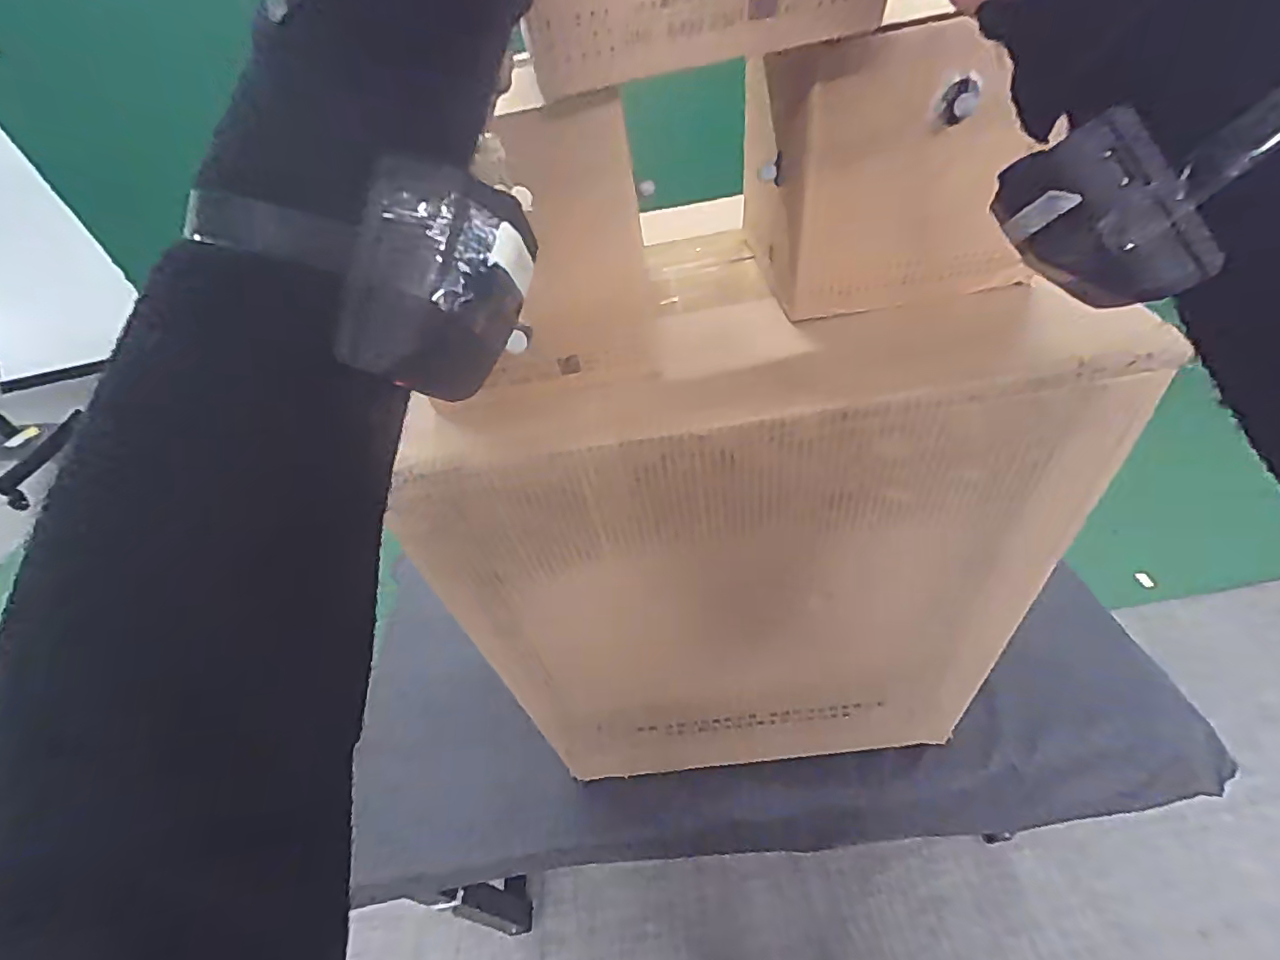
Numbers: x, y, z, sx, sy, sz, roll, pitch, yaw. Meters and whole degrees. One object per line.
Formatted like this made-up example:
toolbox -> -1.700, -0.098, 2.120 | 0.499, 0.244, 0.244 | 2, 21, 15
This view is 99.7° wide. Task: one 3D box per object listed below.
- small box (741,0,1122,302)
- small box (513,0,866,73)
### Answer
small box -> 0.173, -0.246, 0.391 | 0.179, 0.176, 0.168 | -8, 48, 1
small box -> 0.006, -0.313, 0.247 | 0.168, 0.176, 0.179 | -13, 50, -2
